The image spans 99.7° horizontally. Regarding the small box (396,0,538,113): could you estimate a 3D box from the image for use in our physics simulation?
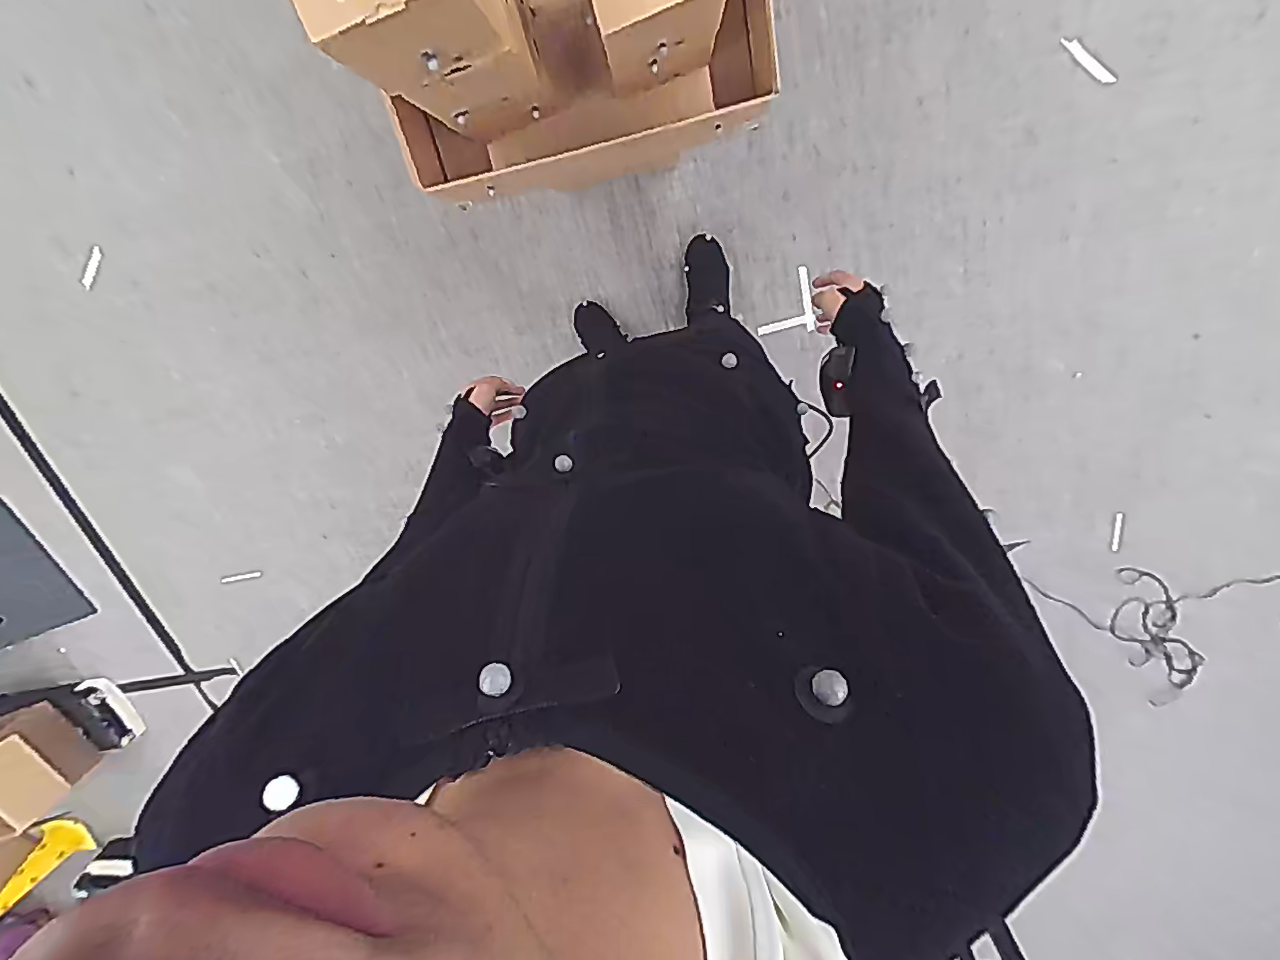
[{"bbox_3d":[-0.252,-0.624,0.726,0.168,0.176,0.179,-14,110,8],"label":"small box"}]

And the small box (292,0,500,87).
[{"bbox_3d":[-0.273,-0.564,0.573,0.168,0.176,0.179,-16,110,9],"label":"small box"}]
